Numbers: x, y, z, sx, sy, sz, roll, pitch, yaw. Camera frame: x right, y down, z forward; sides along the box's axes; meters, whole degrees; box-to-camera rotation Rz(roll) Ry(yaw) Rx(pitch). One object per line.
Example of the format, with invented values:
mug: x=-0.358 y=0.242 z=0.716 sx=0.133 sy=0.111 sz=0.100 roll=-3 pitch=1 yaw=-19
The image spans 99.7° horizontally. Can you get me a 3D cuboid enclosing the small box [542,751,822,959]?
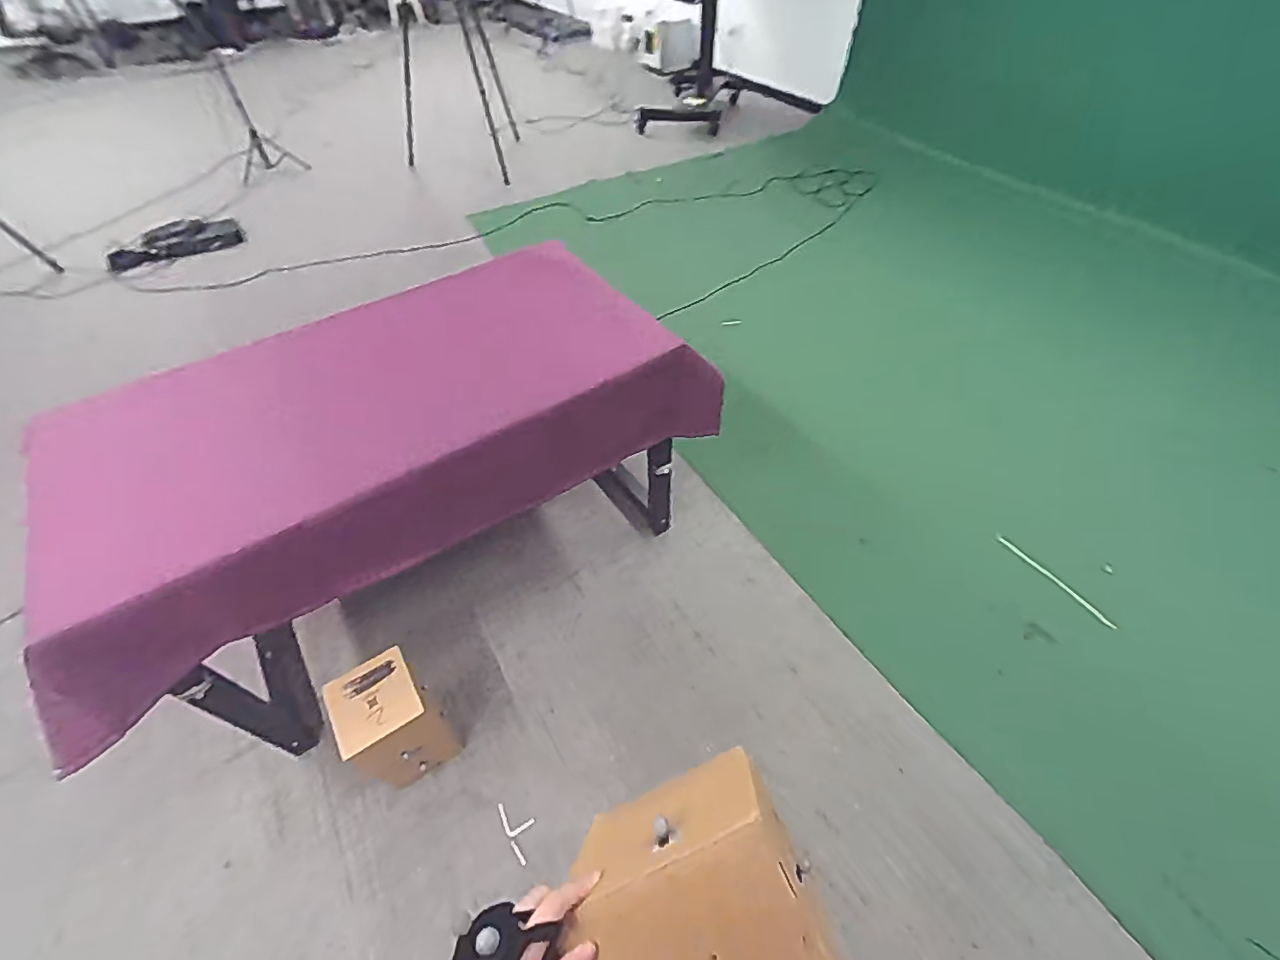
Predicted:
small box: x=0.044 y=0.370 z=0.469 sx=0.179 sy=0.176 sz=0.168 roll=-27 pitch=78 yaw=0
